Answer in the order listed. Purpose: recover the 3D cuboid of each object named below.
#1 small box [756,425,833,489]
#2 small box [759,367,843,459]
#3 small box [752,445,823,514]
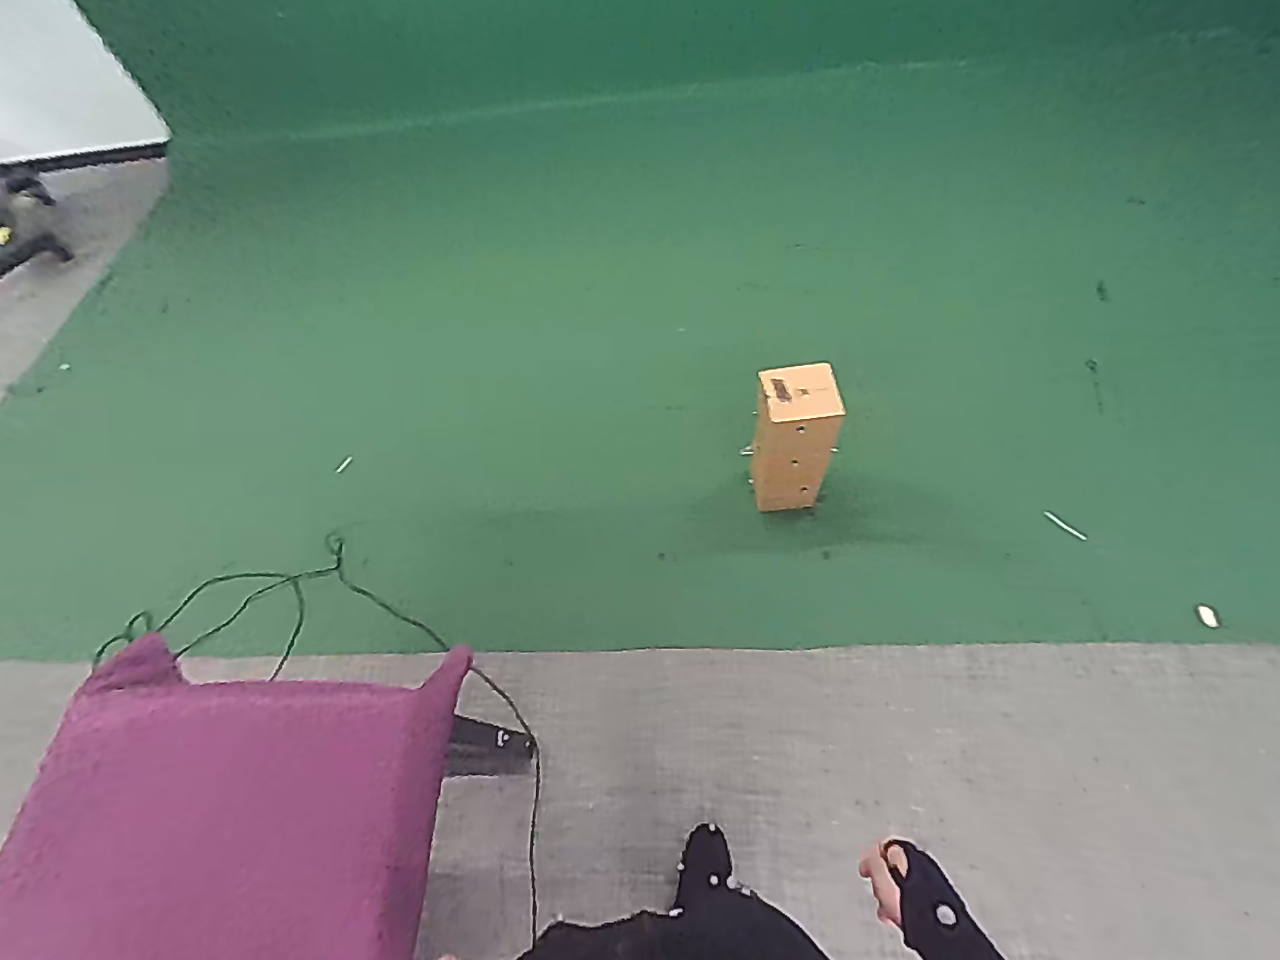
[{"bbox_3d":[0.434,-0.089,1.548,0.179,0.176,0.168,-5,59,5],"label":"small box"},{"bbox_3d":[0.409,-0.169,1.408,0.179,0.176,0.168,-7,60,4],"label":"small box"},{"bbox_3d":[0.452,-0.007,1.687,0.179,0.176,0.168,-6,59,4],"label":"small box"}]
